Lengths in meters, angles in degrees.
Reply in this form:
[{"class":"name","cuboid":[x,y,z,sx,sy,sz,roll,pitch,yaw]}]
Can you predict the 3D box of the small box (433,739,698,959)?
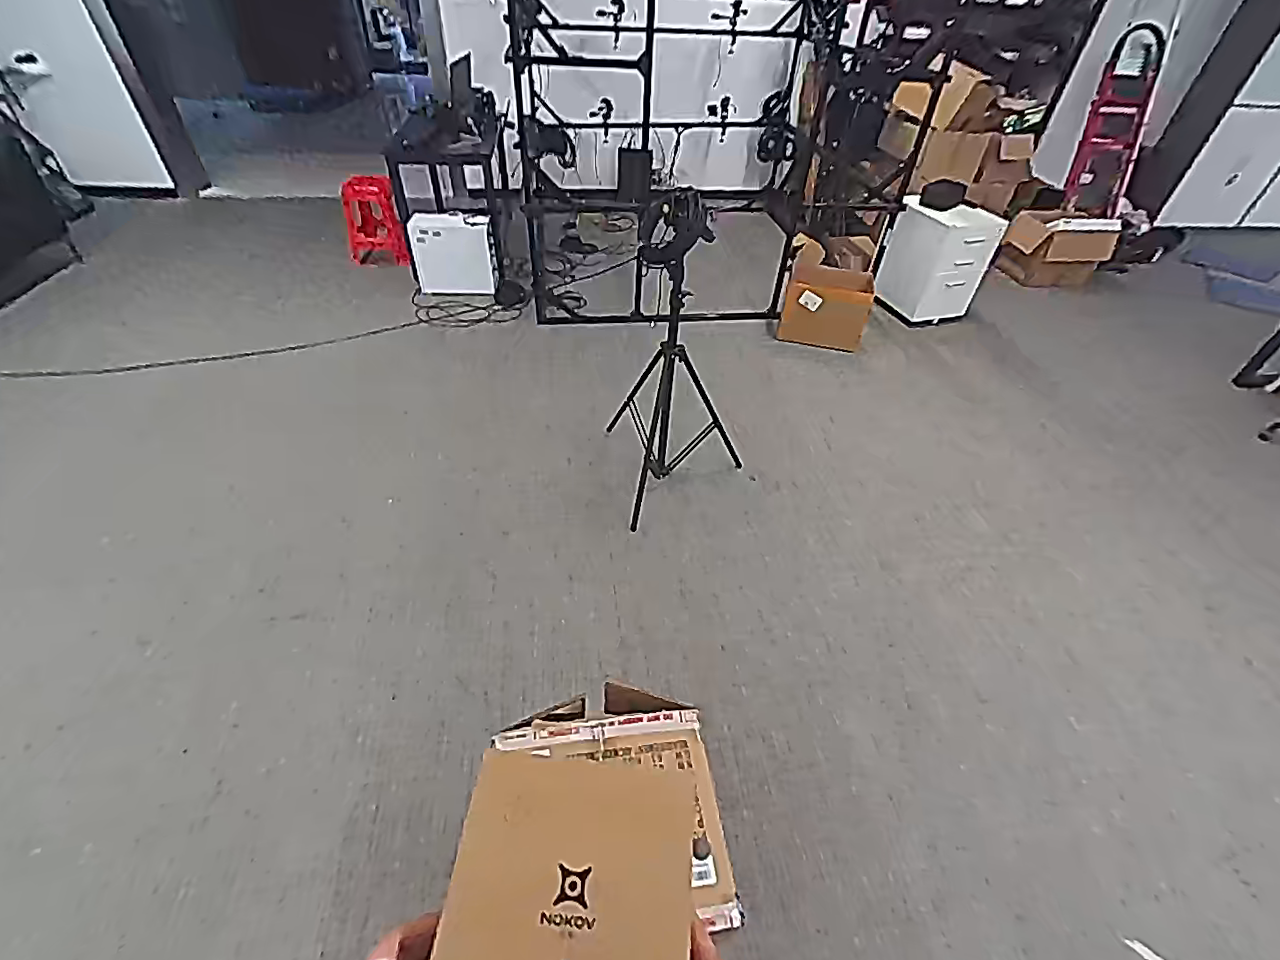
[{"class":"small box","cuboid":[-0.049,0.329,0.427,0.168,0.176,0.179,6,50,2]}]
